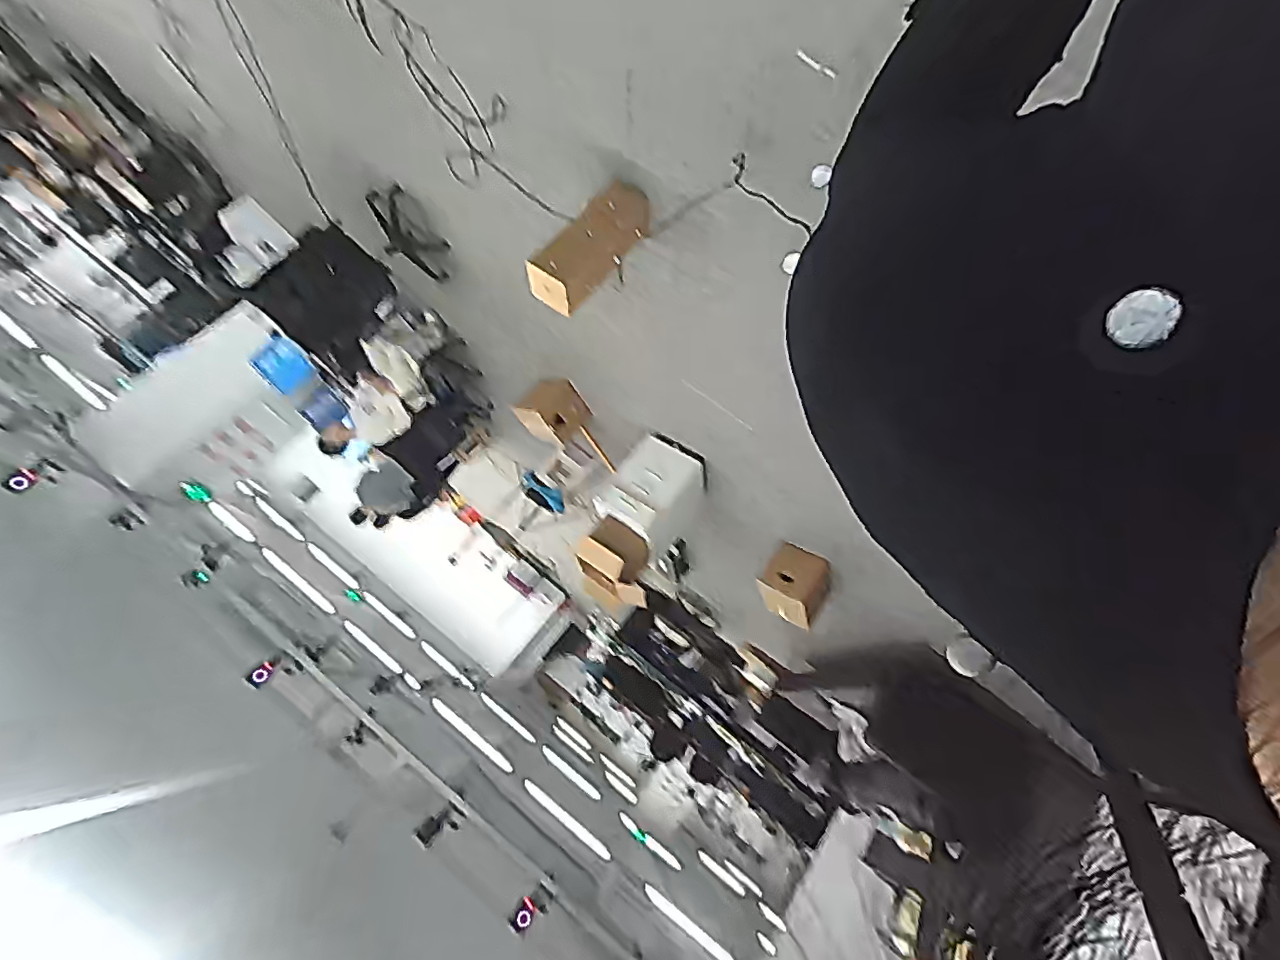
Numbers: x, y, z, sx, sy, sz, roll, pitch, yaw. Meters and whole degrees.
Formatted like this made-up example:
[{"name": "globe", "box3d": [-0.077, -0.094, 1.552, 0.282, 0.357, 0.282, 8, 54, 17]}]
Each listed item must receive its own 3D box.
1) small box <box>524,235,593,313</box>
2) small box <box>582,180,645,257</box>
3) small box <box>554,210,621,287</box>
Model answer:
[{"name": "small box", "box3d": [-0.285, -0.741, 1.928, 0.179, 0.176, 0.168, 35, 160, 12]}, {"name": "small box", "box3d": [-0.094, -0.985, 2.029, 0.179, 0.176, 0.168, 35, 159, 14]}, {"name": "small box", "box3d": [-0.191, -0.858, 1.990, 0.179, 0.176, 0.168, 35, 160, 11]}]
